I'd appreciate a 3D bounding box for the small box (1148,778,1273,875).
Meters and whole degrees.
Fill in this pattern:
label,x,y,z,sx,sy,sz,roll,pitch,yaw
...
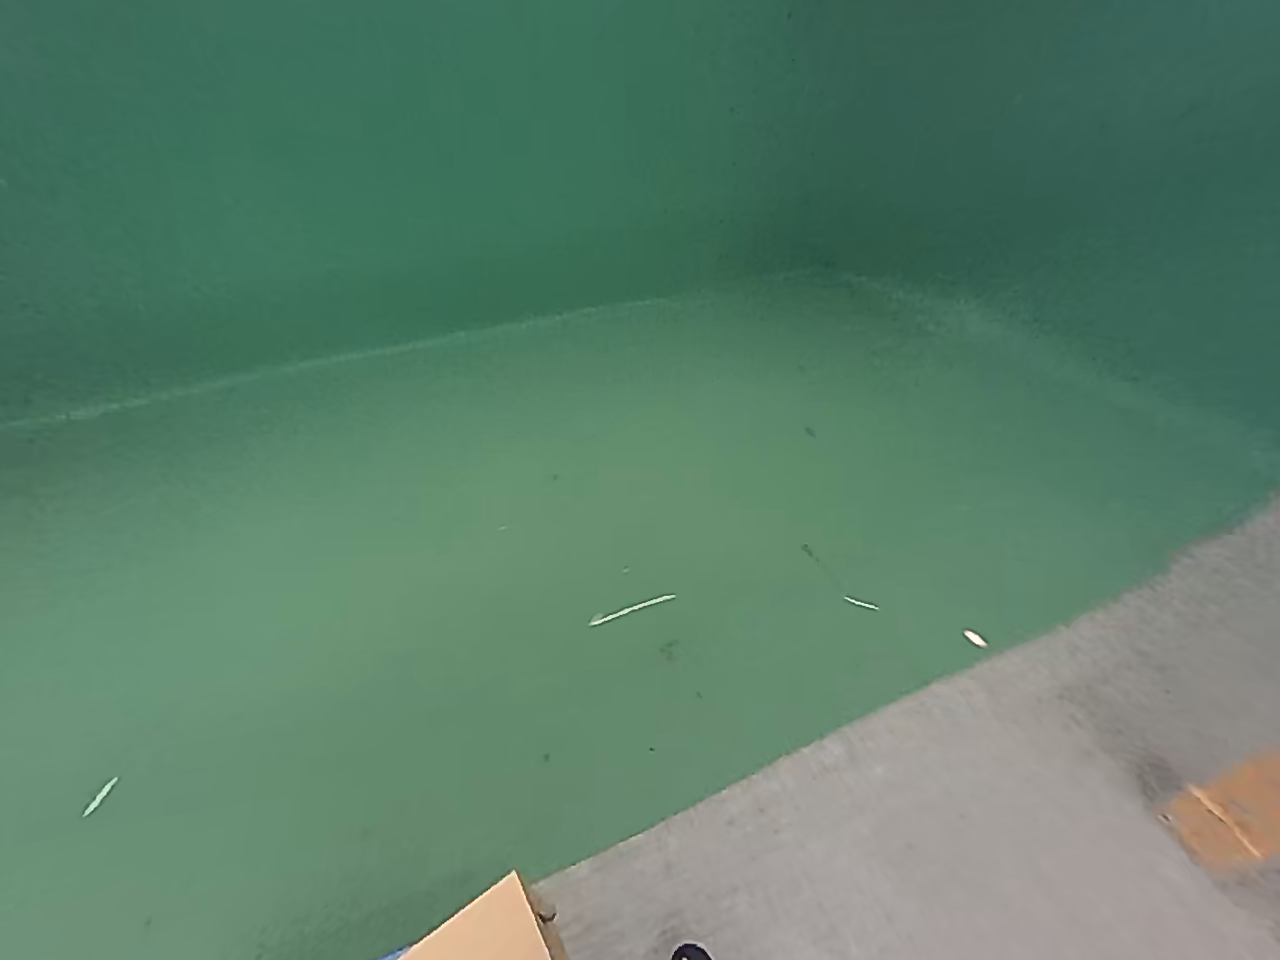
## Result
label,x,y,z,sx,sy,sz,roll,pitch,yaw
small box,1.443,0.852,1.353,0.179,0.176,0.168,-12,43,-13
